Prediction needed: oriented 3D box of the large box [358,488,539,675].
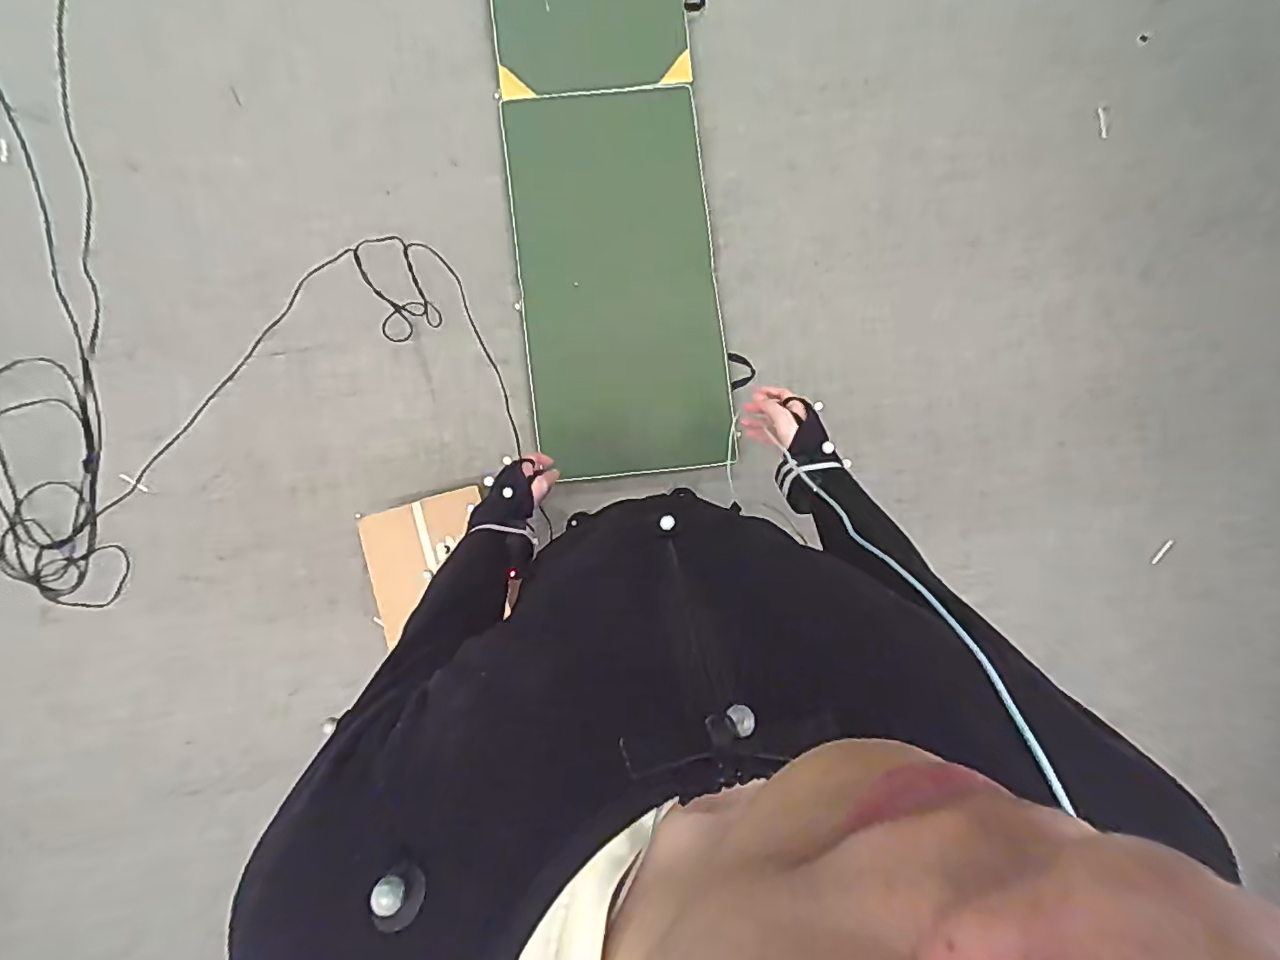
[{"bbox_3d":[-0.502,0.260,1.485,0.320,0.320,0.408,-16,86,-2],"label":"large box"}]
